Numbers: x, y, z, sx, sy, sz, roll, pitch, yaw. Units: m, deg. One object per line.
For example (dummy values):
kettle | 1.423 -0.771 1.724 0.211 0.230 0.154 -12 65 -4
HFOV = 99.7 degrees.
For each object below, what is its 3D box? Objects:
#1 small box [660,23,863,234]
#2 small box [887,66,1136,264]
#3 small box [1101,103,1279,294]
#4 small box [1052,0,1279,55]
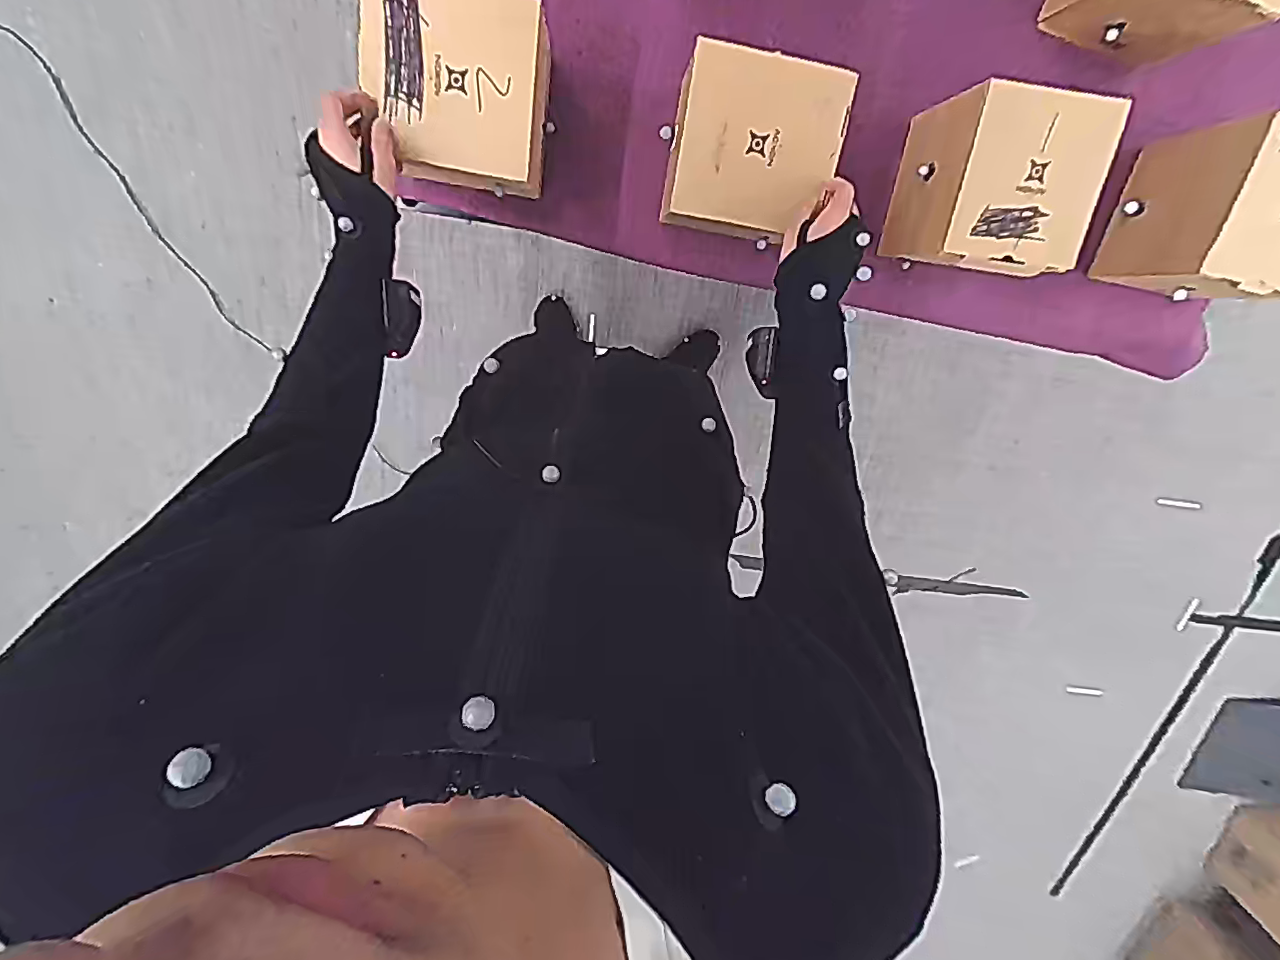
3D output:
small box | 0.129 -0.400 0.651 0.179 0.176 0.168 8 111 -6
small box | 0.436 -0.373 0.674 0.168 0.176 0.179 6 111 -5
small box | 0.757 -0.346 0.695 0.168 0.176 0.179 10 110 -6
small box | 0.608 -0.612 0.586 0.168 0.176 0.179 13 113 -7
